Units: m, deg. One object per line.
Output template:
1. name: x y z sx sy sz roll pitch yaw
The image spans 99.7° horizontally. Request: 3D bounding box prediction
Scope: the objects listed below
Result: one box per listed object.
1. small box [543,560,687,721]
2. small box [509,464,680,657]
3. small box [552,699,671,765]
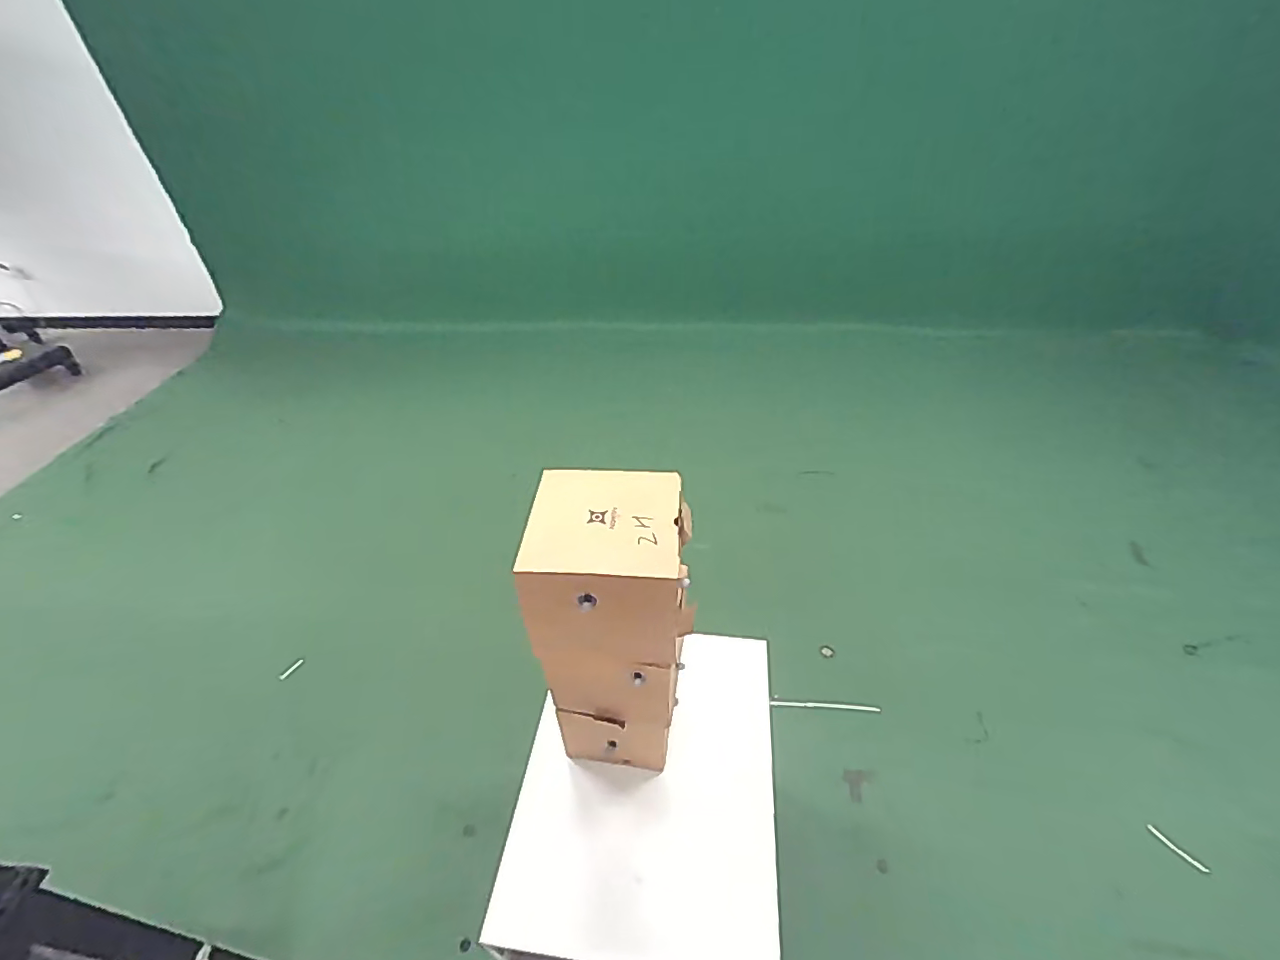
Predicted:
1. small box: -0.032 0.219 0.772 0.179 0.176 0.168 7 42 9
2. small box: -0.042 0.098 0.659 0.179 0.176 0.168 2 42 3
3. small box: -0.032 0.338 0.882 0.168 0.176 0.179 5 42 7
